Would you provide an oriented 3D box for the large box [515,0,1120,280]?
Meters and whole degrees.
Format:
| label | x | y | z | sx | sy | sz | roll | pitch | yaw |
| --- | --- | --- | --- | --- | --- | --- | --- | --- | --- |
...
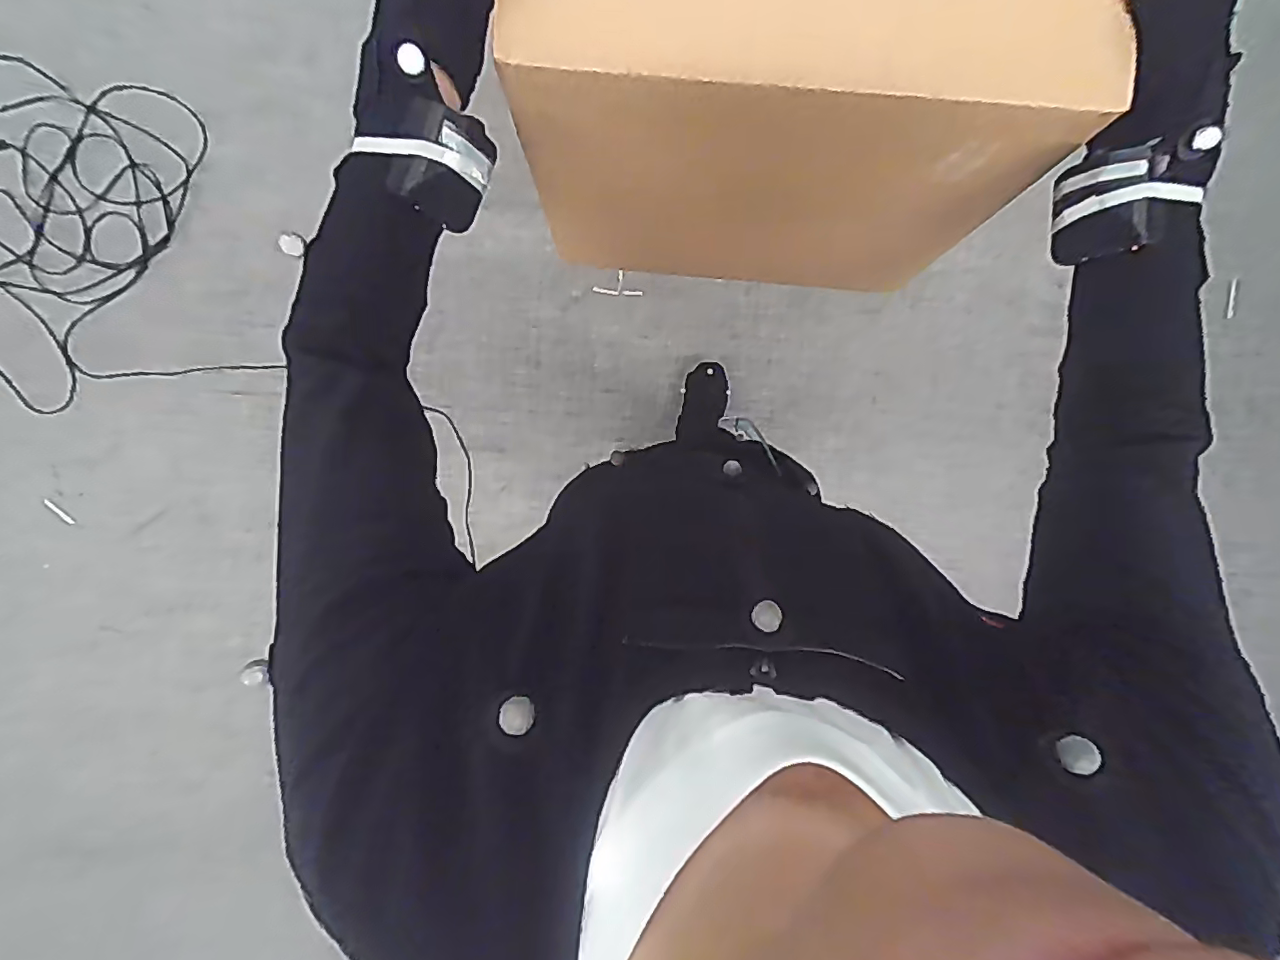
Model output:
| label | x | y | z | sx | sy | sz | roll | pitch | yaw |
| --- | --- | --- | --- | --- | --- | --- | --- | --- | --- |
| large box | 0.119 | -0.405 | 0.506 | 0.408 | 0.320 | 0.320 | 4 | 89 | -1 |
